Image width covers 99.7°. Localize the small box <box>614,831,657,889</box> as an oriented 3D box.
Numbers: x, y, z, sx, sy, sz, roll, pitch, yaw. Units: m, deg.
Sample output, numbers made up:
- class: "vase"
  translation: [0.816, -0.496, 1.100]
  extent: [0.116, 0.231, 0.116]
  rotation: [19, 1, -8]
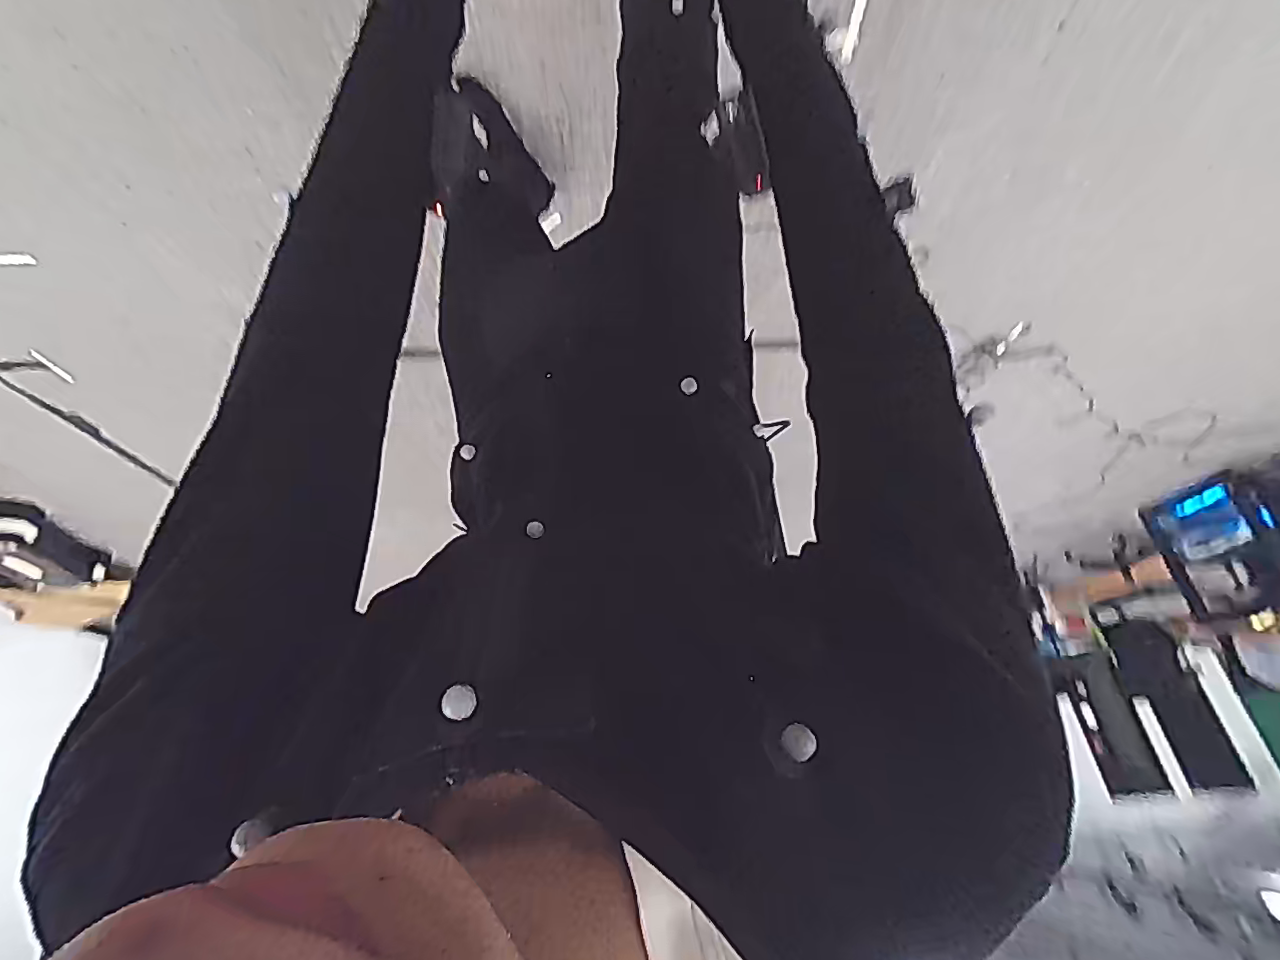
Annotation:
- class: "small box"
  translation: [-0.020, 1.543, 2.202]
  extent: [0.168, 0.176, 0.179]
  rotation: [-4, 152, -3]
